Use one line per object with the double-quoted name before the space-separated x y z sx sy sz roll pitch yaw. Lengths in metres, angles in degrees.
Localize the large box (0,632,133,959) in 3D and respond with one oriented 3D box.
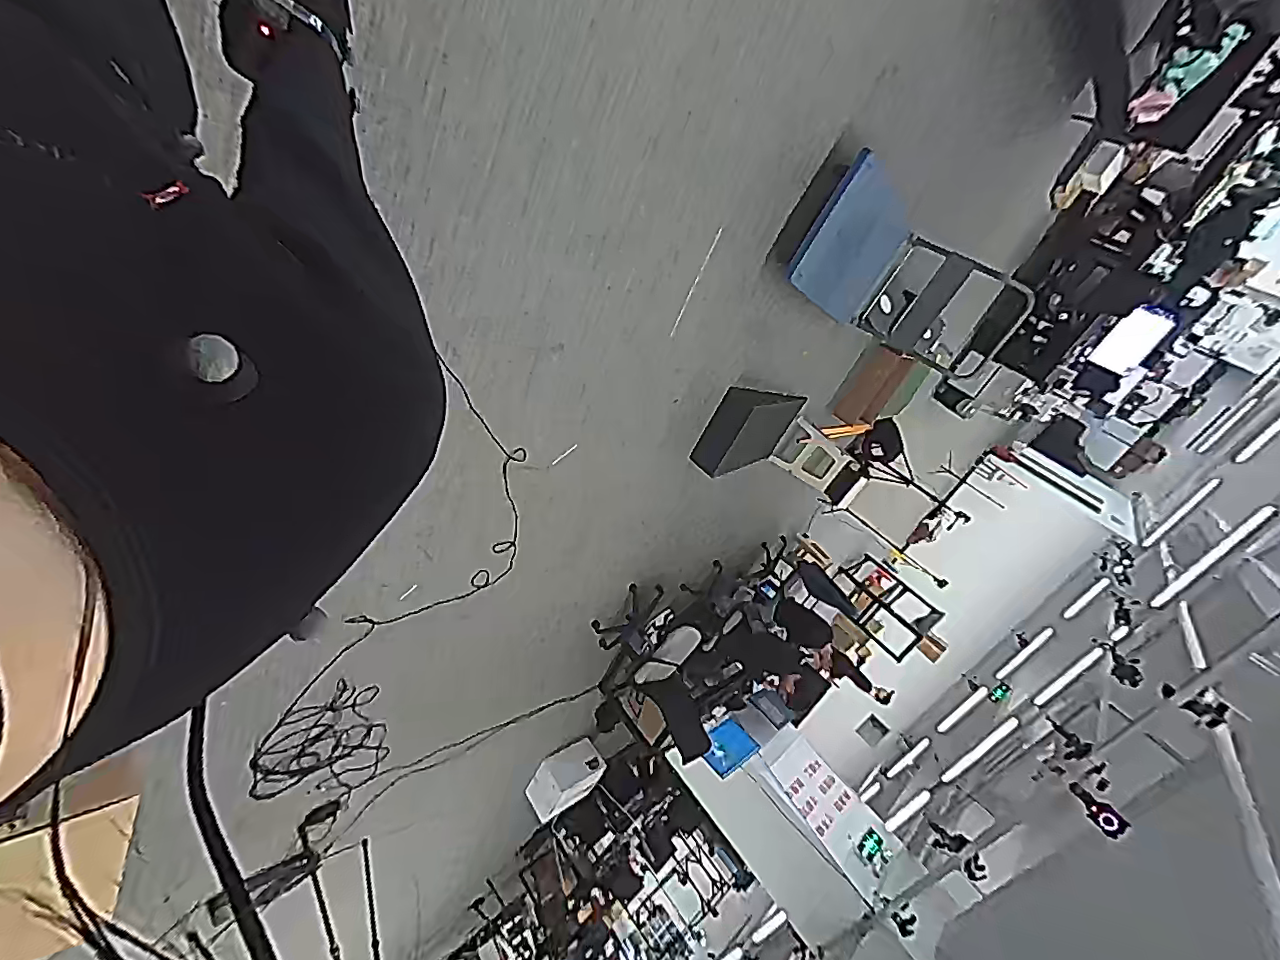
"large box" -1.022 0.505 0.820 0.320 0.320 0.408 1 128 -51
